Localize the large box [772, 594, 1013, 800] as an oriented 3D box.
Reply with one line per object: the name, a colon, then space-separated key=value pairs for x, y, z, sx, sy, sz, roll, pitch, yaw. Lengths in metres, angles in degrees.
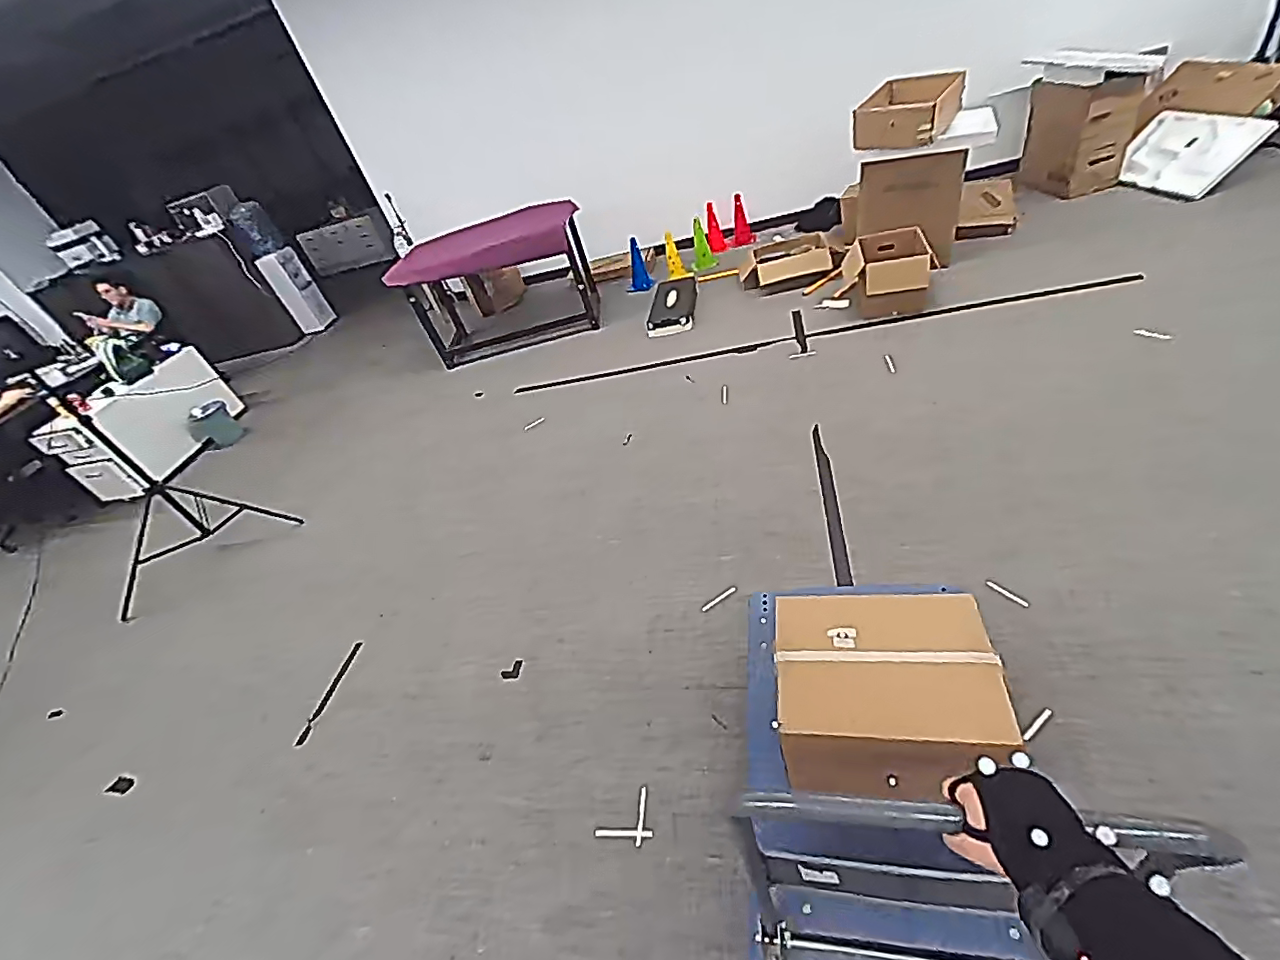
large box: x=0.516 y=0.475 z=1.183 sx=0.408 sy=0.320 sz=0.320 roll=-6 pitch=40 yaw=17
